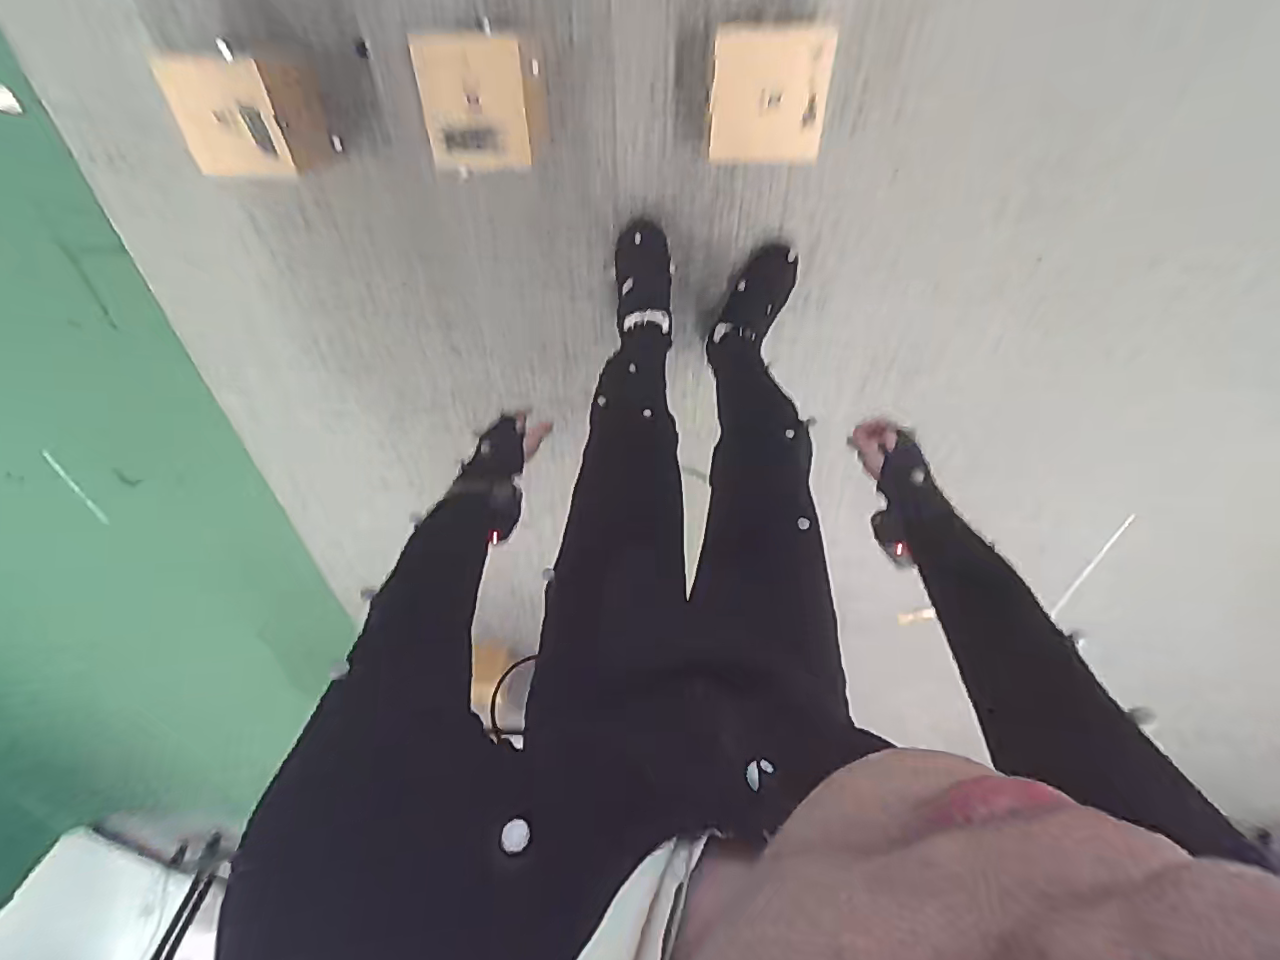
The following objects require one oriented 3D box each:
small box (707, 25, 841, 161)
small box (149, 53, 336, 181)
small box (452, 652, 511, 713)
[{"bbox_3d":[0.200,-0.621,0.867,0.179,0.176,0.168,2,130,3],"label":"small box"},{"bbox_3d":[-0.656,-0.625,0.928,0.179,0.176,0.168,3,130,3],"label":"small box"},{"bbox_3d":[-0.612,0.792,2.120,0.179,0.176,0.168,2,130,3],"label":"small box"}]
